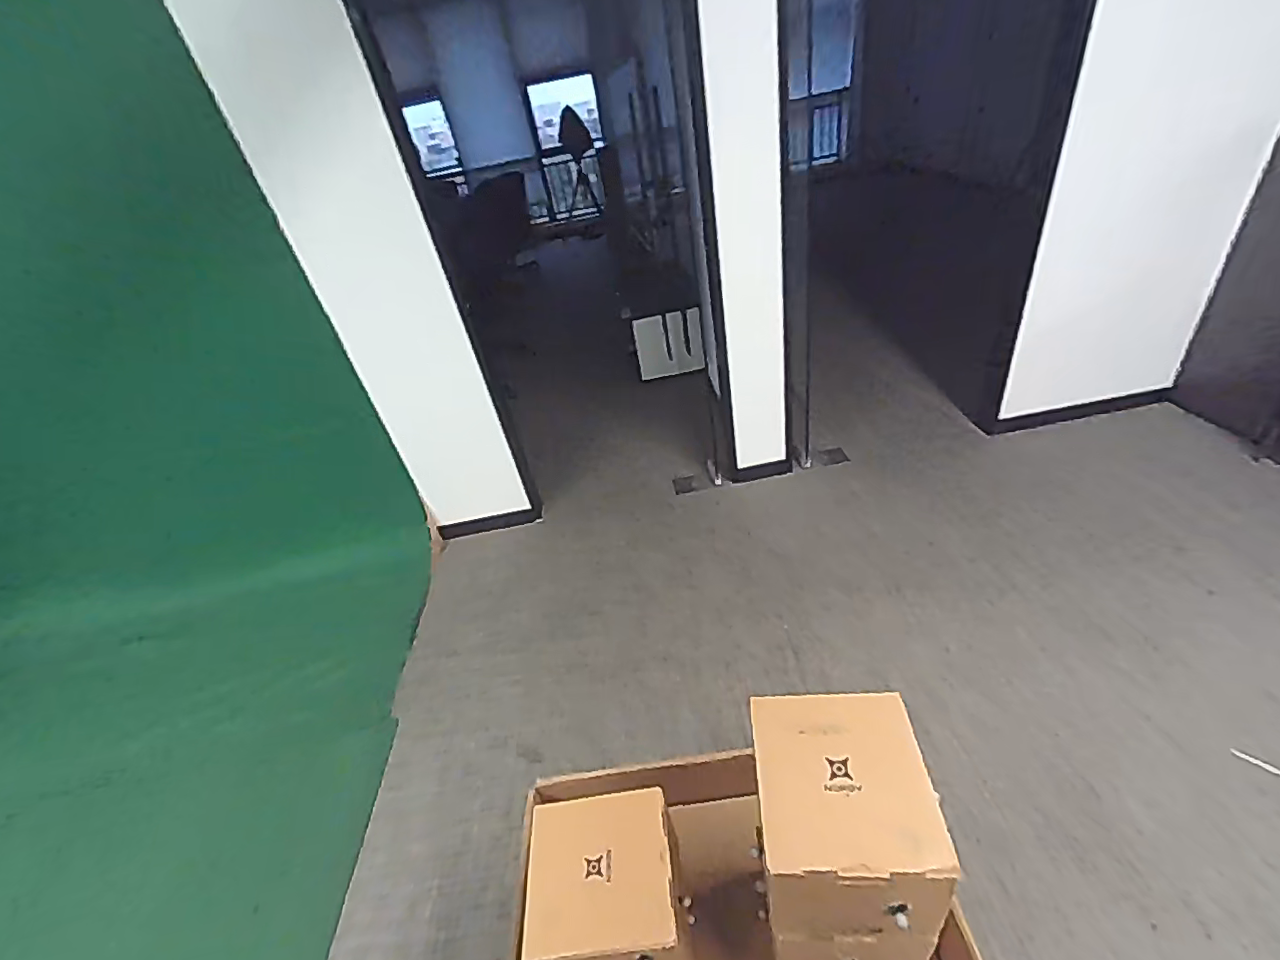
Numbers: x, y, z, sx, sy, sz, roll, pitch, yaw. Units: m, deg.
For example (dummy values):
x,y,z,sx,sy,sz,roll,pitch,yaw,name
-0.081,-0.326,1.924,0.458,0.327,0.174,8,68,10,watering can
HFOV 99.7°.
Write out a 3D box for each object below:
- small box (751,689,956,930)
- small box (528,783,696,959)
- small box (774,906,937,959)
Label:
x,y,z,sx,sy,sz,roll,pitch,yaw,name
0.215,0.354,0.585,0.168,0.176,0.179,-6,35,10,small box
-0.031,0.531,0.707,0.179,0.176,0.168,-10,35,2,small box
0.247,0.485,0.679,0.168,0.176,0.179,-7,37,8,small box
